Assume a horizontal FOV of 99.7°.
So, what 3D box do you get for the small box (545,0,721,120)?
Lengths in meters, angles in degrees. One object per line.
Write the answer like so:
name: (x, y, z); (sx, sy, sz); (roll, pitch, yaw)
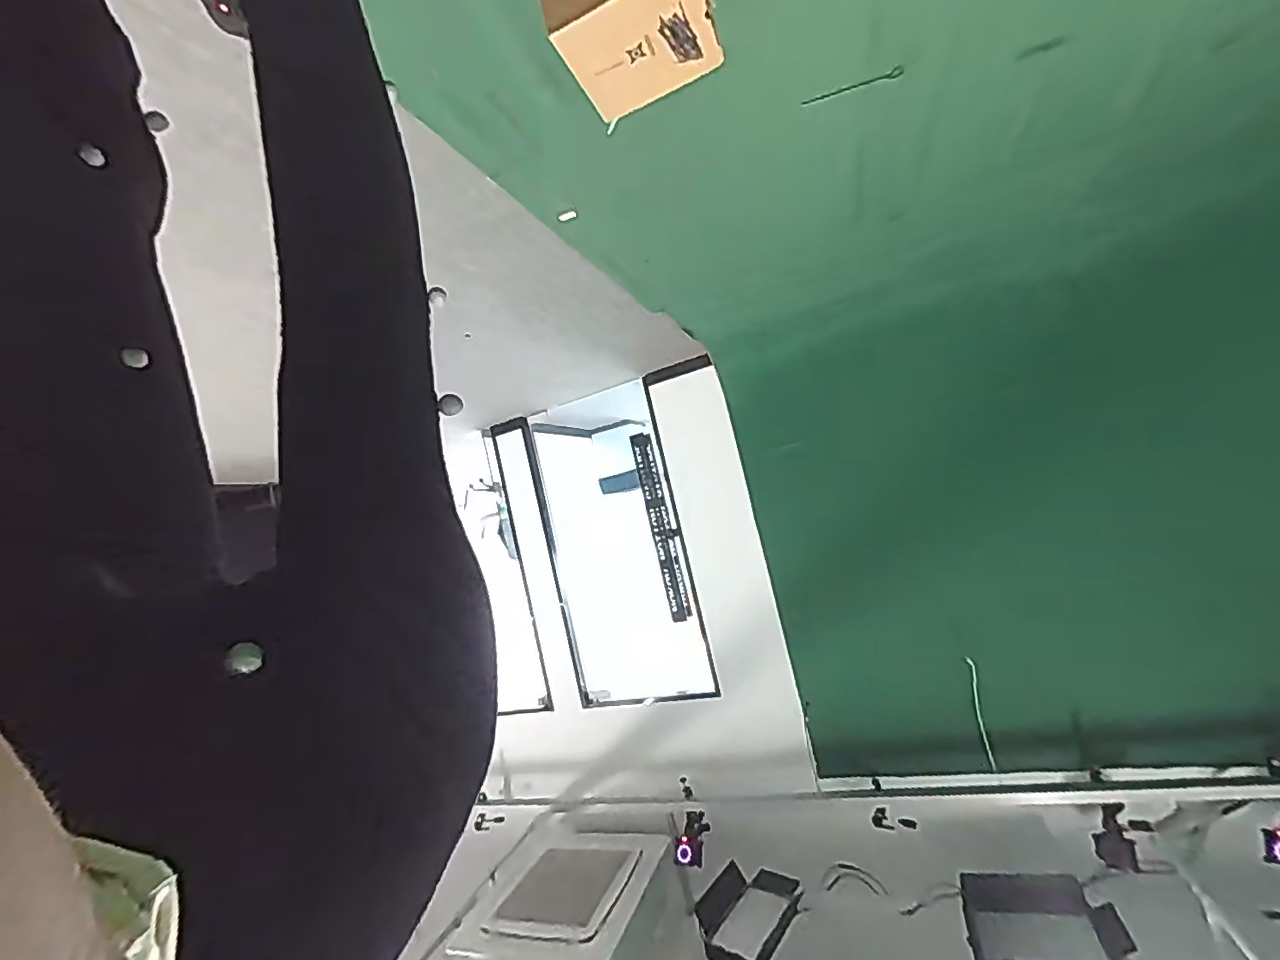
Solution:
small box: (-0.018, -0.602, 0.659); (0.179, 0.176, 0.168); (-15, 176, 19)
